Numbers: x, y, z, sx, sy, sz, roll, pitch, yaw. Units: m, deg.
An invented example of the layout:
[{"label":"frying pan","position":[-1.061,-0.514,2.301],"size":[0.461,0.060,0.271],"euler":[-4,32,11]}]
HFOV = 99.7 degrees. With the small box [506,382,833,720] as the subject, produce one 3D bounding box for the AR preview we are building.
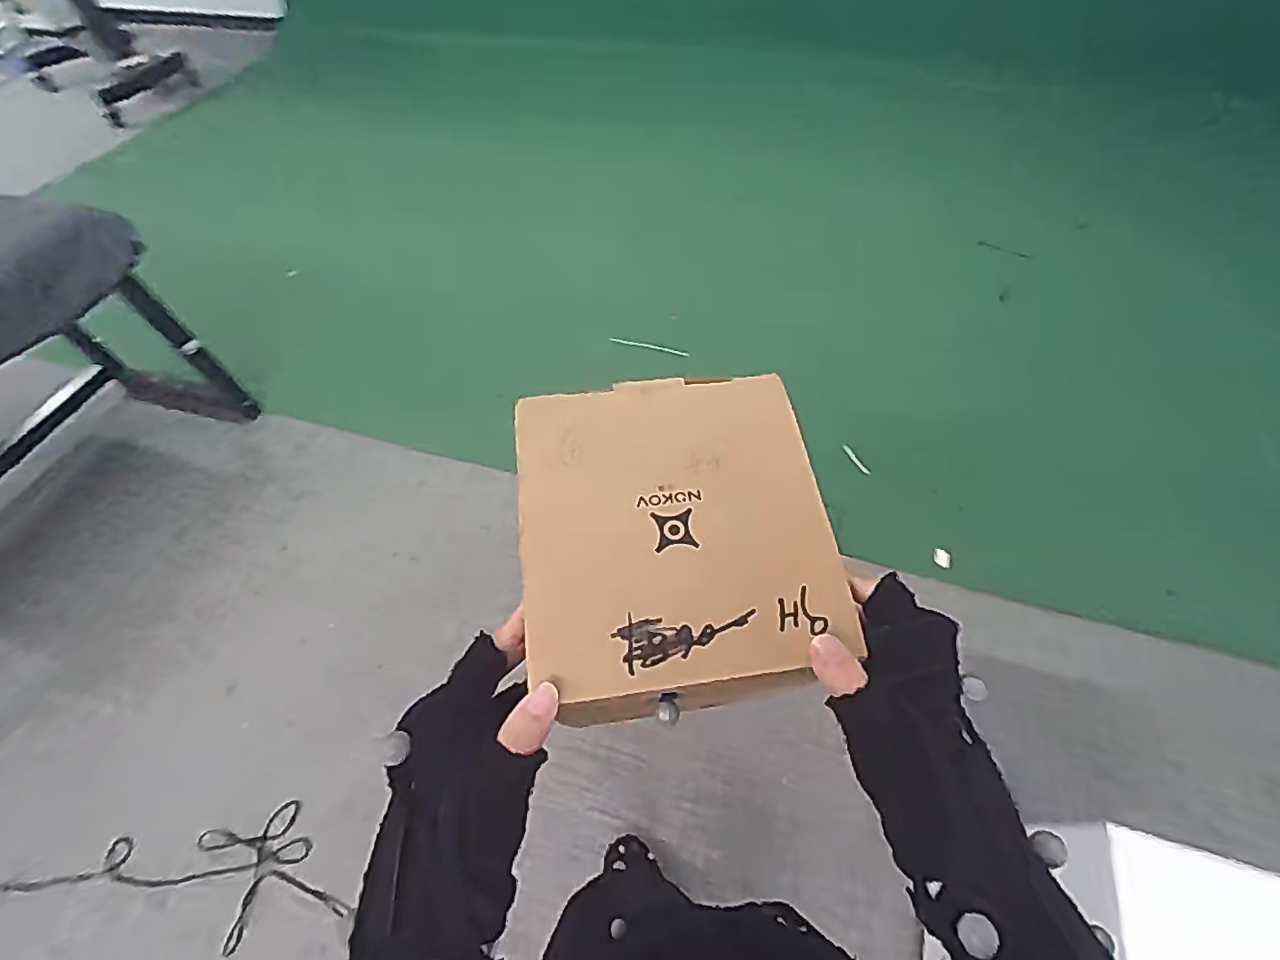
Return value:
[{"label":"small box","position":[0.005,0.057,0.374],"size":[0.168,0.176,0.179],"euler":[-6,63,-4]}]
